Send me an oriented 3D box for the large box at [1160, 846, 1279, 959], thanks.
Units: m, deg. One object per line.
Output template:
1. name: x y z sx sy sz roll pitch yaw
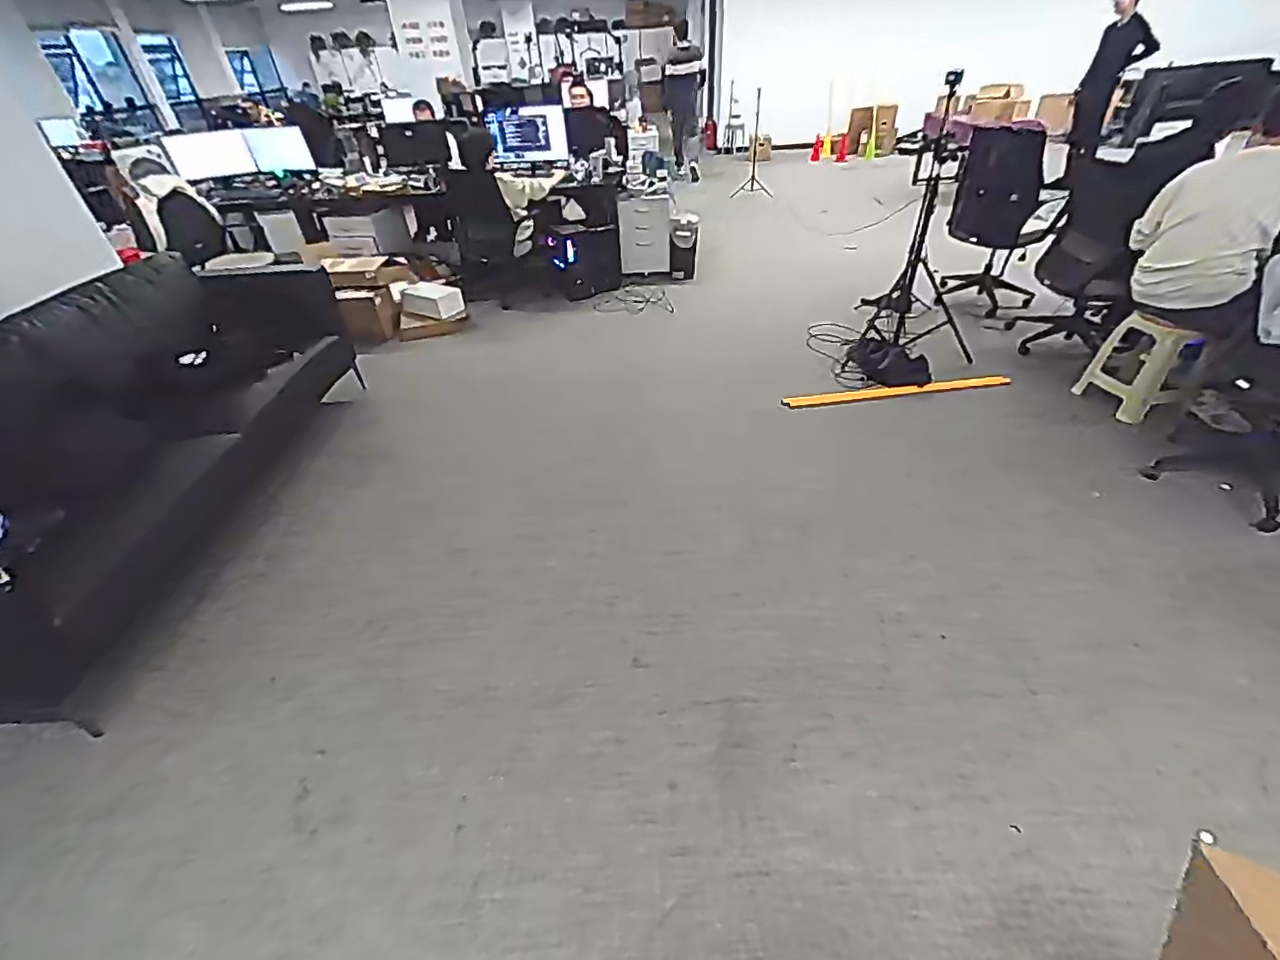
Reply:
1. large box: 0.714 0.644 0.478 0.320 0.320 0.408 18 3 34
